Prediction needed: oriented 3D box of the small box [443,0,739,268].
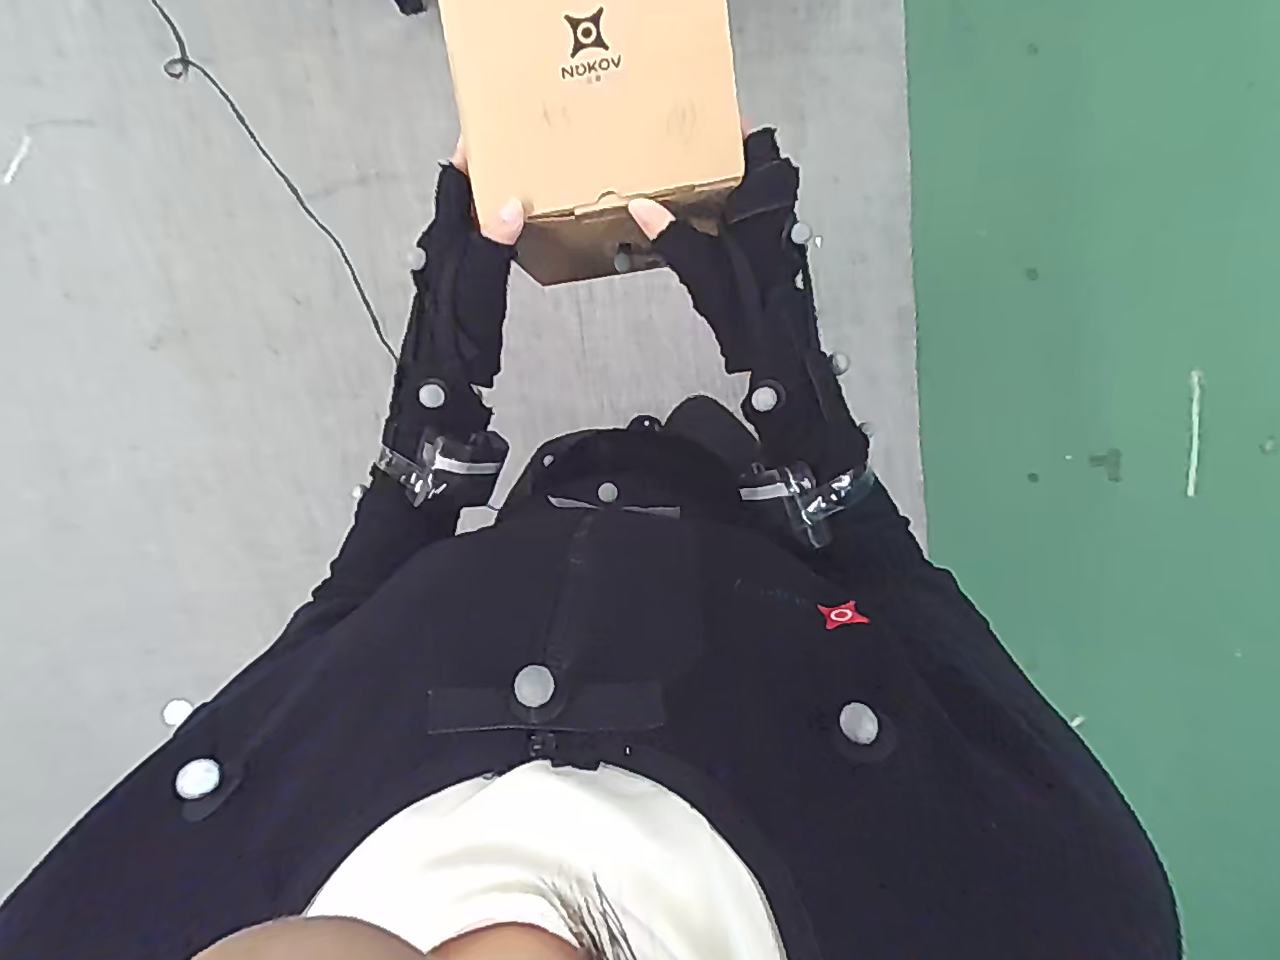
[{"bbox_3d":[-0.025,-0.266,0.397,0.168,0.176,0.179,-8,99,5],"label":"small box"}]
